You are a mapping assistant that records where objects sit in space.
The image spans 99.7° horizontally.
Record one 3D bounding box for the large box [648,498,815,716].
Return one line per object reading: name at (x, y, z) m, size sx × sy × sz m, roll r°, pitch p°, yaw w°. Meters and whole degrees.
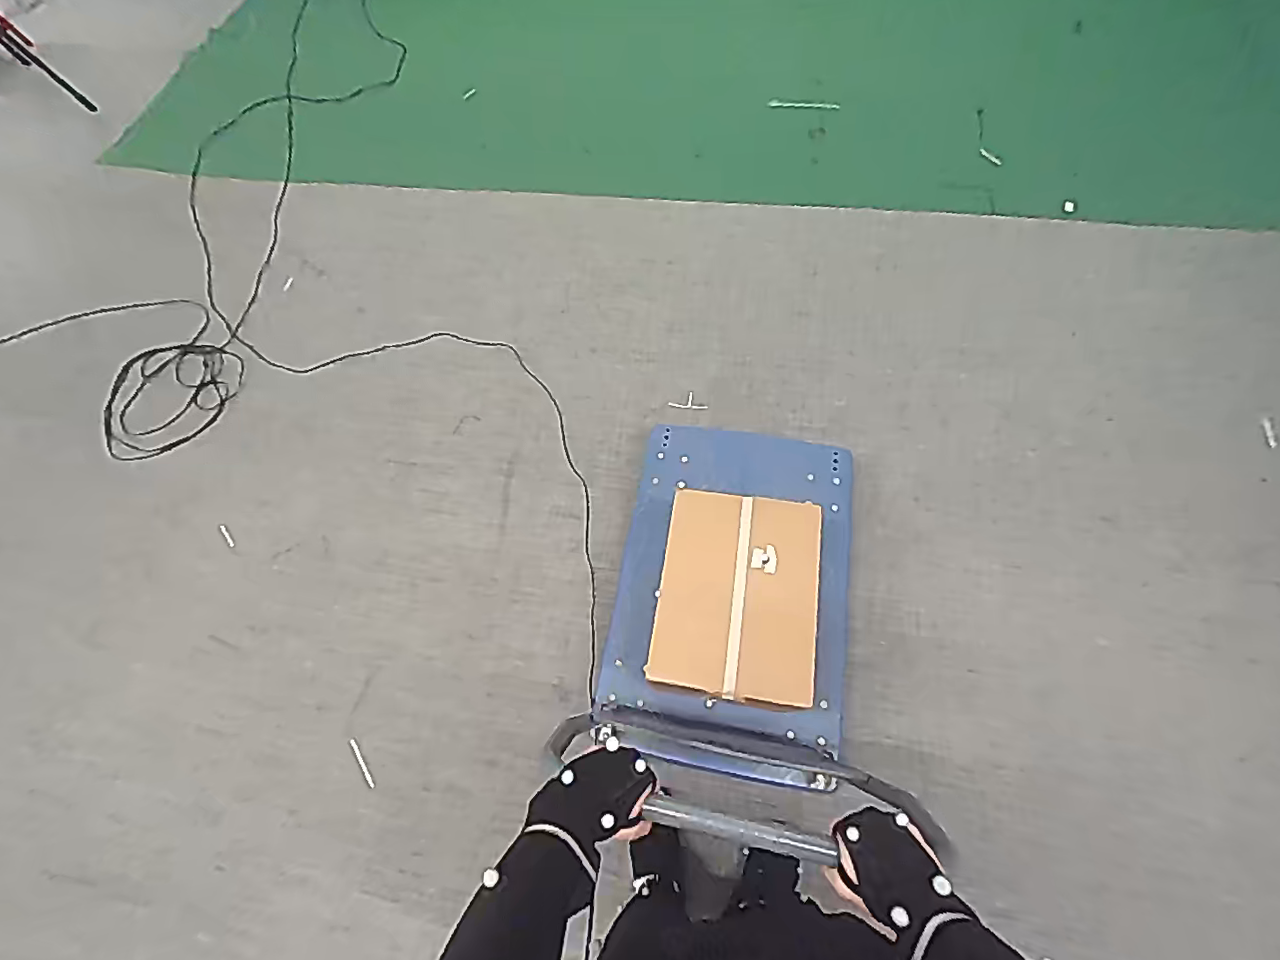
large box at (0.206, 0.296, 1.225) m, size 0.320 × 0.320 × 0.408 m, roll 7°, pitch 66°, yaw 7°
